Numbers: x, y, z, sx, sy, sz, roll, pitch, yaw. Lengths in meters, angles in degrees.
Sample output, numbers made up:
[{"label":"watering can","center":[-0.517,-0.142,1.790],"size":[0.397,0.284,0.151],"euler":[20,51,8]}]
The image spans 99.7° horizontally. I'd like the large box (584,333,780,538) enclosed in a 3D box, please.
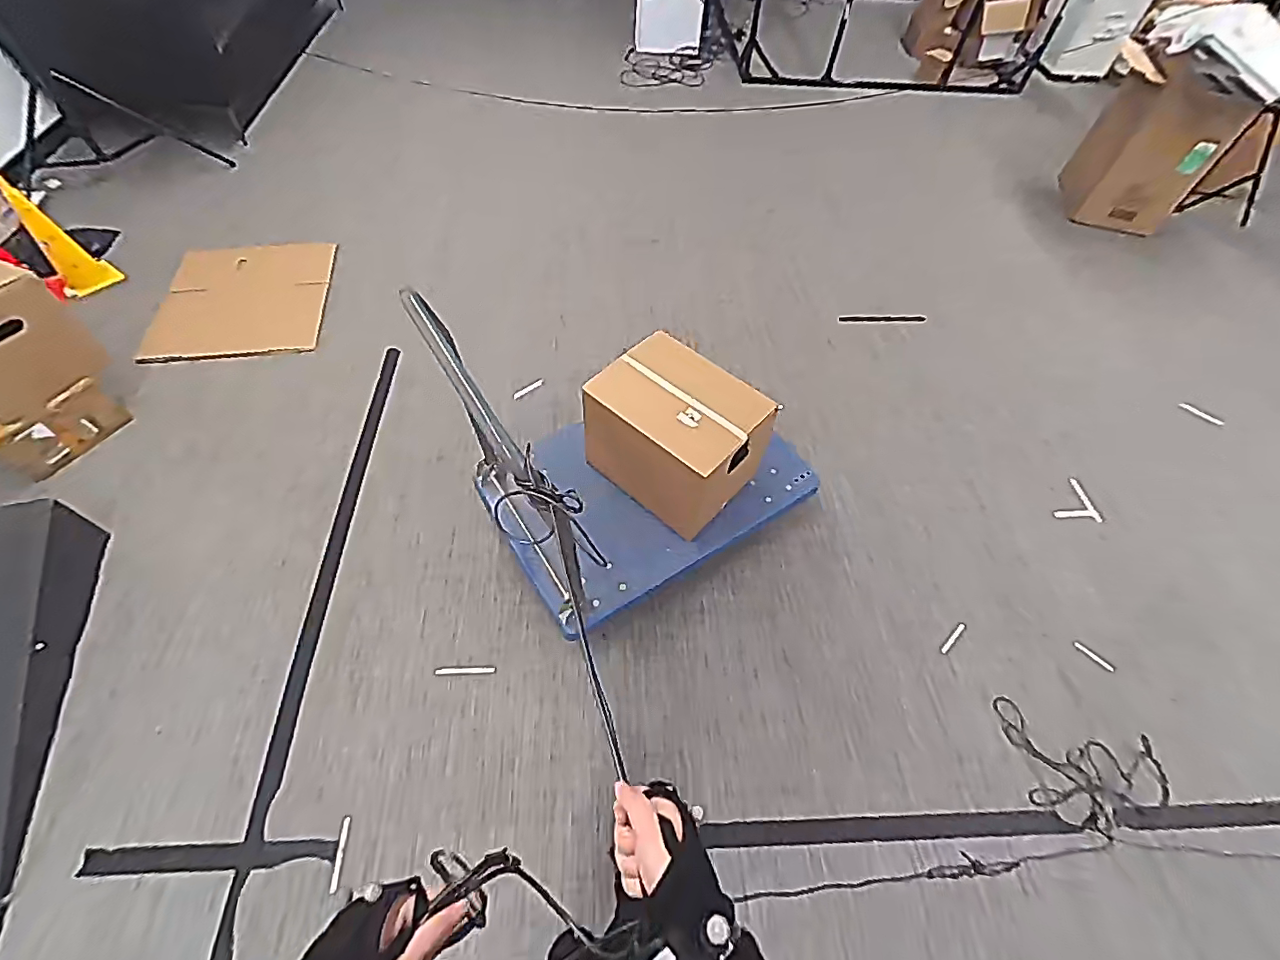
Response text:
[{"label":"large box","center":[0.094,-0.122,1.473],"size":[0.408,0.320,0.320],"euler":[38,62,19]}]
